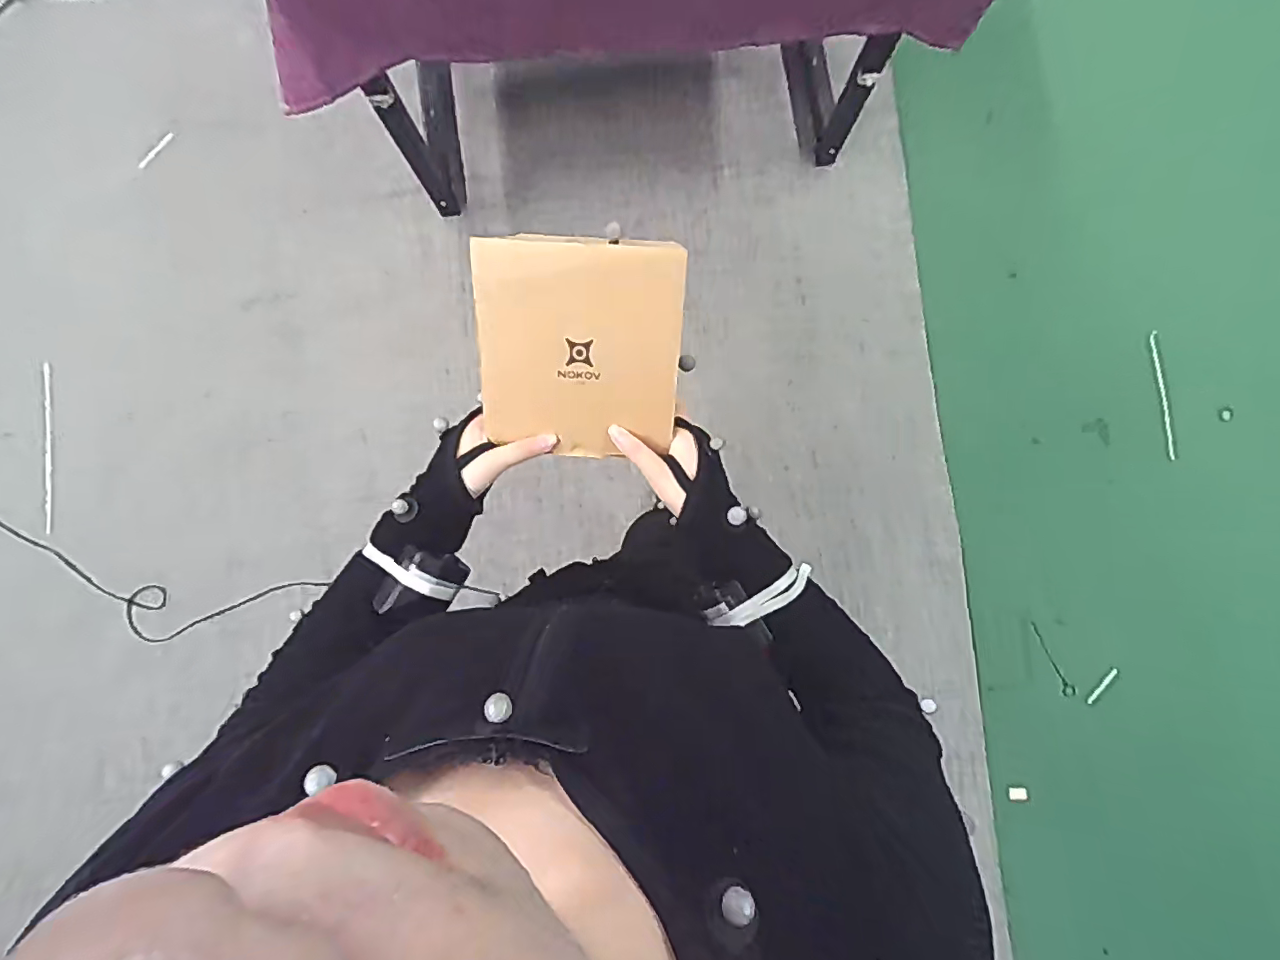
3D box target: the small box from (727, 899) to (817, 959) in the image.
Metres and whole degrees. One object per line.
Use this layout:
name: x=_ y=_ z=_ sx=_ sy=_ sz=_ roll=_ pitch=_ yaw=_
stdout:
small box: x=0.295 y=1.078 z=1.190 sx=0.168 sy=0.176 sz=0.179 roll=-8 pitch=84 yaw=-1

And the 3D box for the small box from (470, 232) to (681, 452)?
small box: x=-0.053 y=-0.140 z=0.522 sx=0.168 sy=0.176 sz=0.179 roll=2 pitch=117 yaw=0
